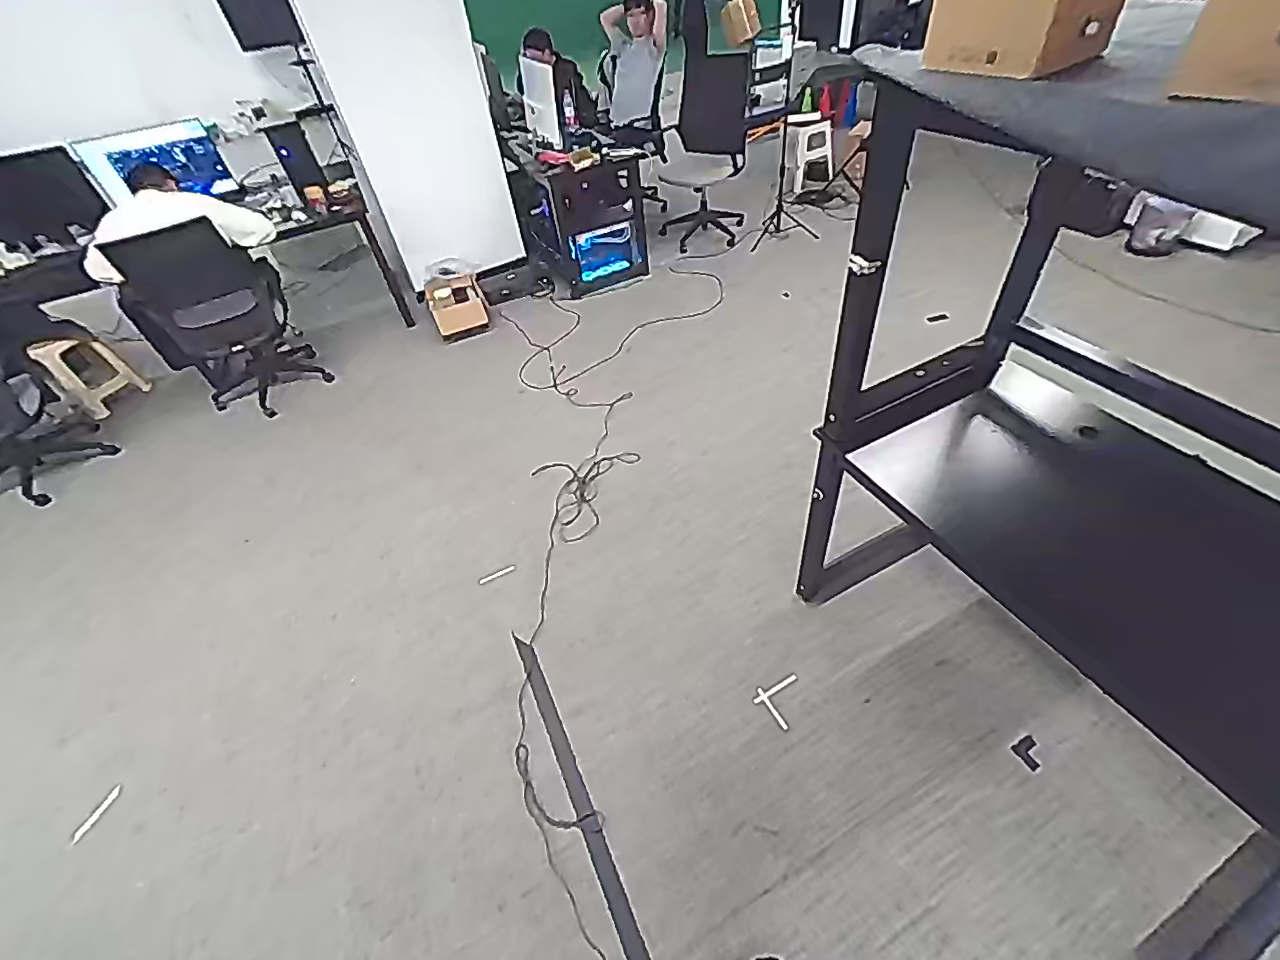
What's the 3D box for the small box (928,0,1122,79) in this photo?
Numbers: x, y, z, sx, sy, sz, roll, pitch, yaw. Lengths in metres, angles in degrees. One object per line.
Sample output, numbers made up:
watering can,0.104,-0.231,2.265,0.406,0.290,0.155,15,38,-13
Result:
small box,0.507,-0.642,0.694,0.179,0.176,0.168,-30,50,-19
